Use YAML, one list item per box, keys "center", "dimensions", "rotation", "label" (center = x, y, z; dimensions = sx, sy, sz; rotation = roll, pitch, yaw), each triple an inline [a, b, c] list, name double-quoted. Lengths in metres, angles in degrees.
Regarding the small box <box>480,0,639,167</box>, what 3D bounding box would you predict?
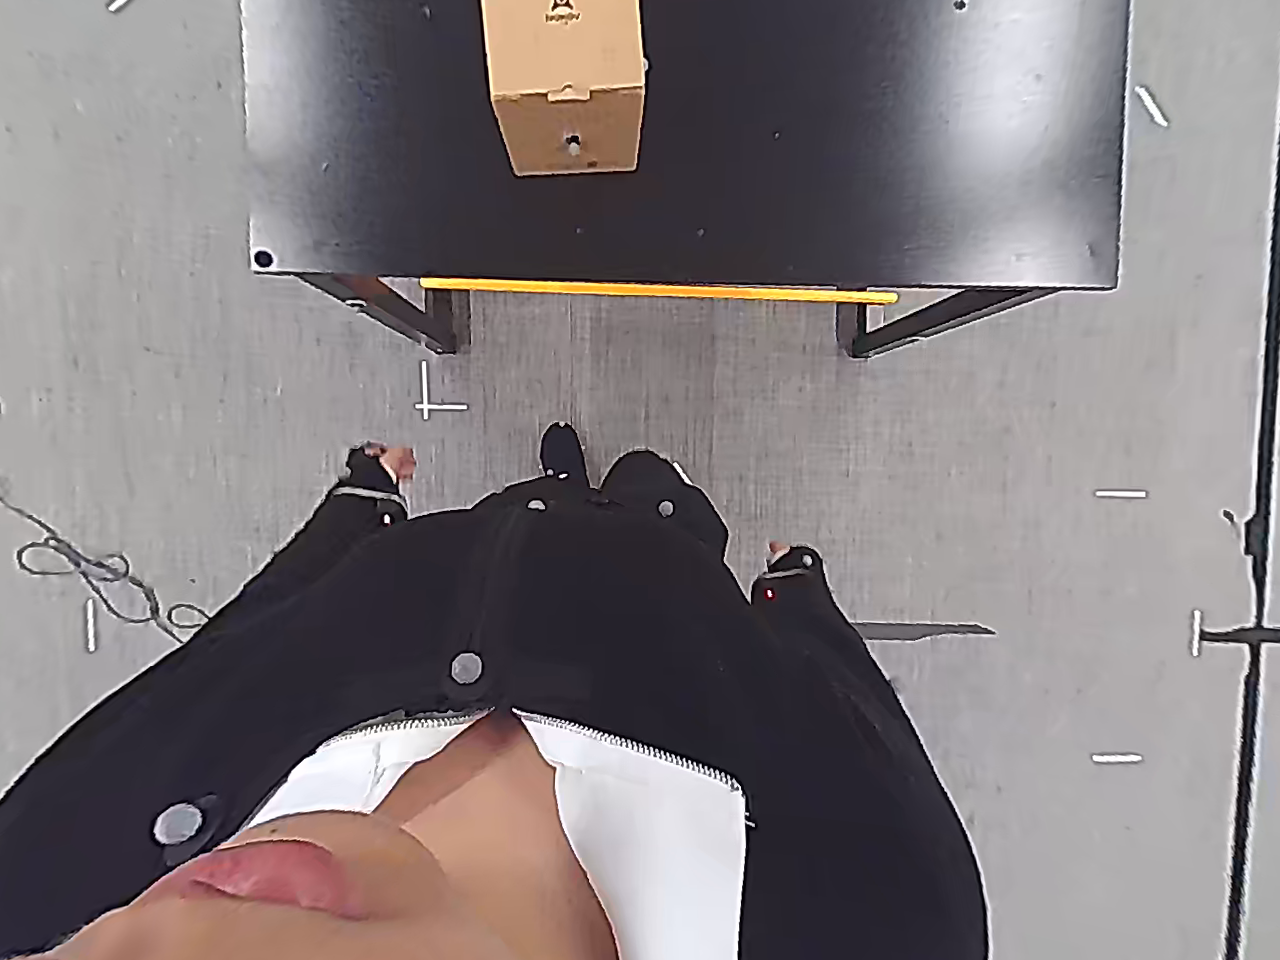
- center: [-0.089, -0.500, 0.651]
  dimensions: [0.168, 0.176, 0.179]
  rotation: [-5, 94, -3]
  label: "small box"
